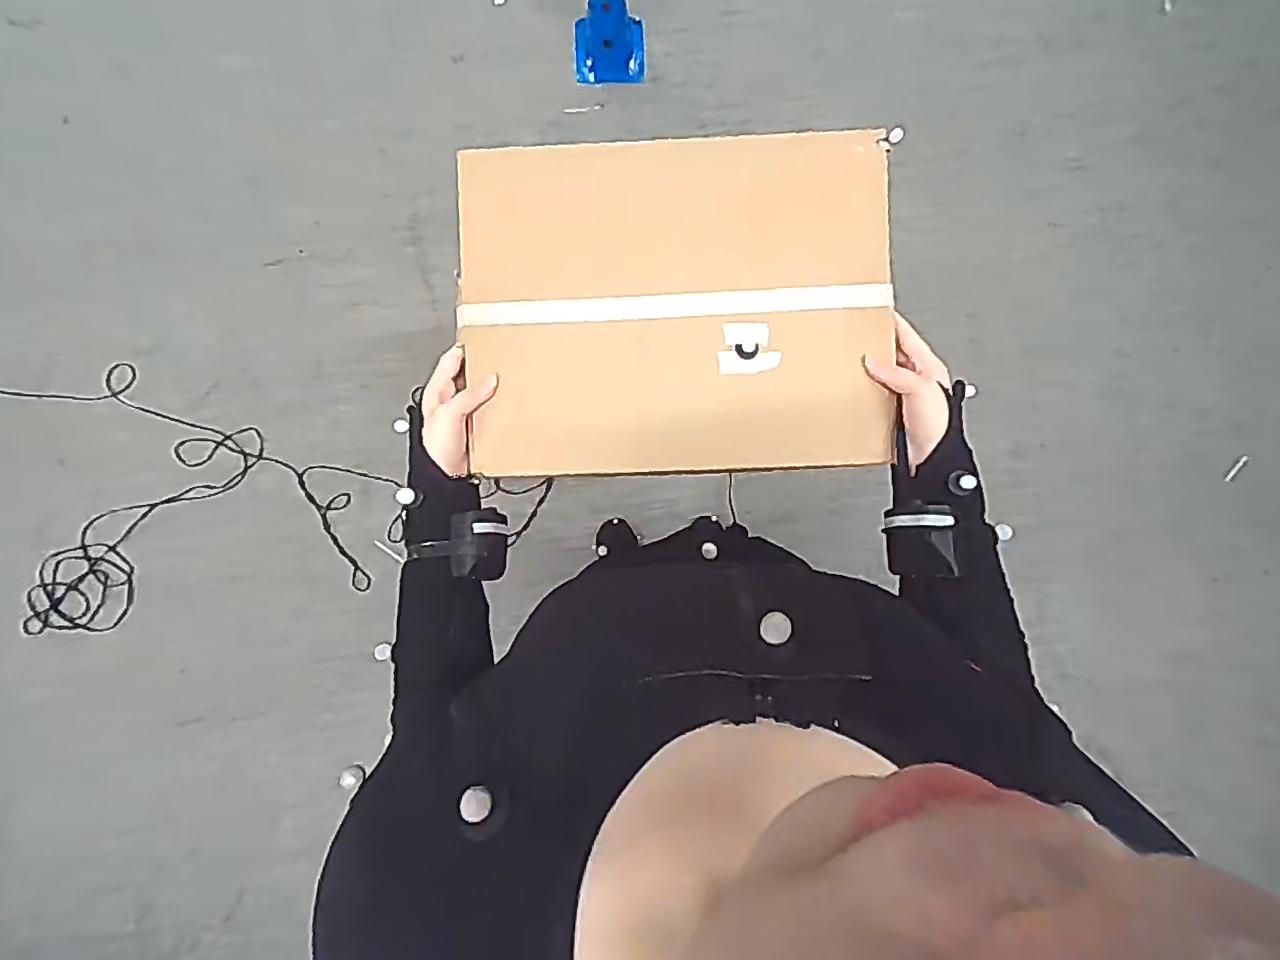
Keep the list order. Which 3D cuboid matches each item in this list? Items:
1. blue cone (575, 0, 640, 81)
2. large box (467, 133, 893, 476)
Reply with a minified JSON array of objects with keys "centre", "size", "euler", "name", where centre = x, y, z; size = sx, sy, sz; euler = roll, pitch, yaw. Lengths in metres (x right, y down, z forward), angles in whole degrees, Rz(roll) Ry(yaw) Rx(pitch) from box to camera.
[{"centre":[-0.094,-1.273,1.424],"size":[0.193,0.380,0.192],"euler":[0,86,-1],"name":"blue cone"},{"centre":[0.038,-0.170,0.666],"size":[0.408,0.320,0.320],"euler":[-2,91,0],"name":"large box"}]
